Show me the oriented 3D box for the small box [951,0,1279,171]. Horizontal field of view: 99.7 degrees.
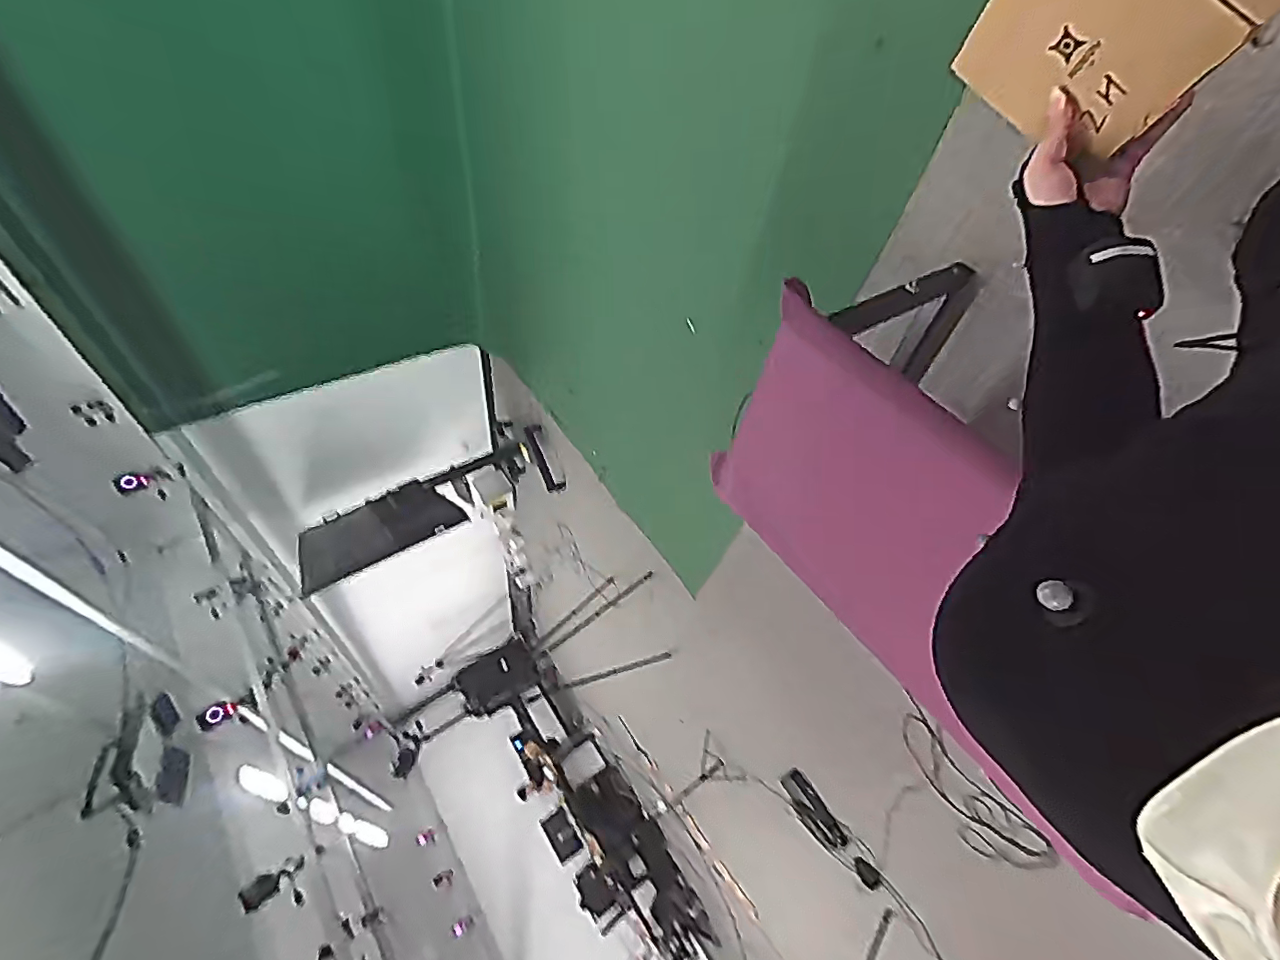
[{"bbox_3d":[0.413,-0.412,0.439,0.179,0.176,0.168,47,-179,5],"label":"small box"}]
